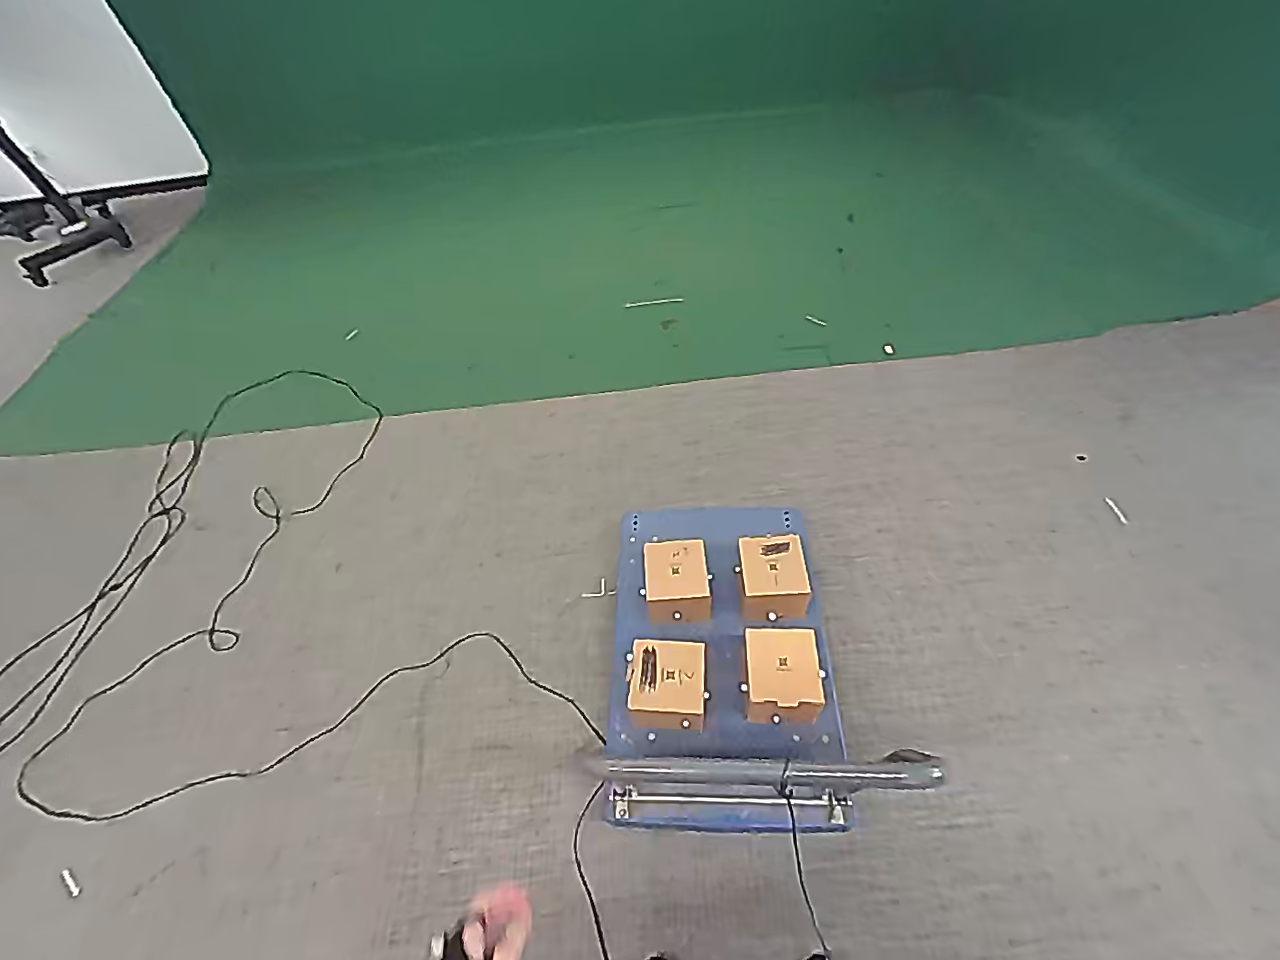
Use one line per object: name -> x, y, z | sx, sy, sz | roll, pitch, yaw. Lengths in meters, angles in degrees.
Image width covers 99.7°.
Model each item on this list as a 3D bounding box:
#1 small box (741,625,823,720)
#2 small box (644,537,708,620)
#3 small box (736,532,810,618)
small box -> 0.339, 0.472, 1.324 | 0.168, 0.176, 0.179 | -1, 53, 5
small box -> 0.099, 0.278, 1.500 | 0.168, 0.176, 0.179 | -4, 52, 2
small box -> 0.356, 0.263, 1.483 | 0.168, 0.176, 0.179 | -4, 53, 5
